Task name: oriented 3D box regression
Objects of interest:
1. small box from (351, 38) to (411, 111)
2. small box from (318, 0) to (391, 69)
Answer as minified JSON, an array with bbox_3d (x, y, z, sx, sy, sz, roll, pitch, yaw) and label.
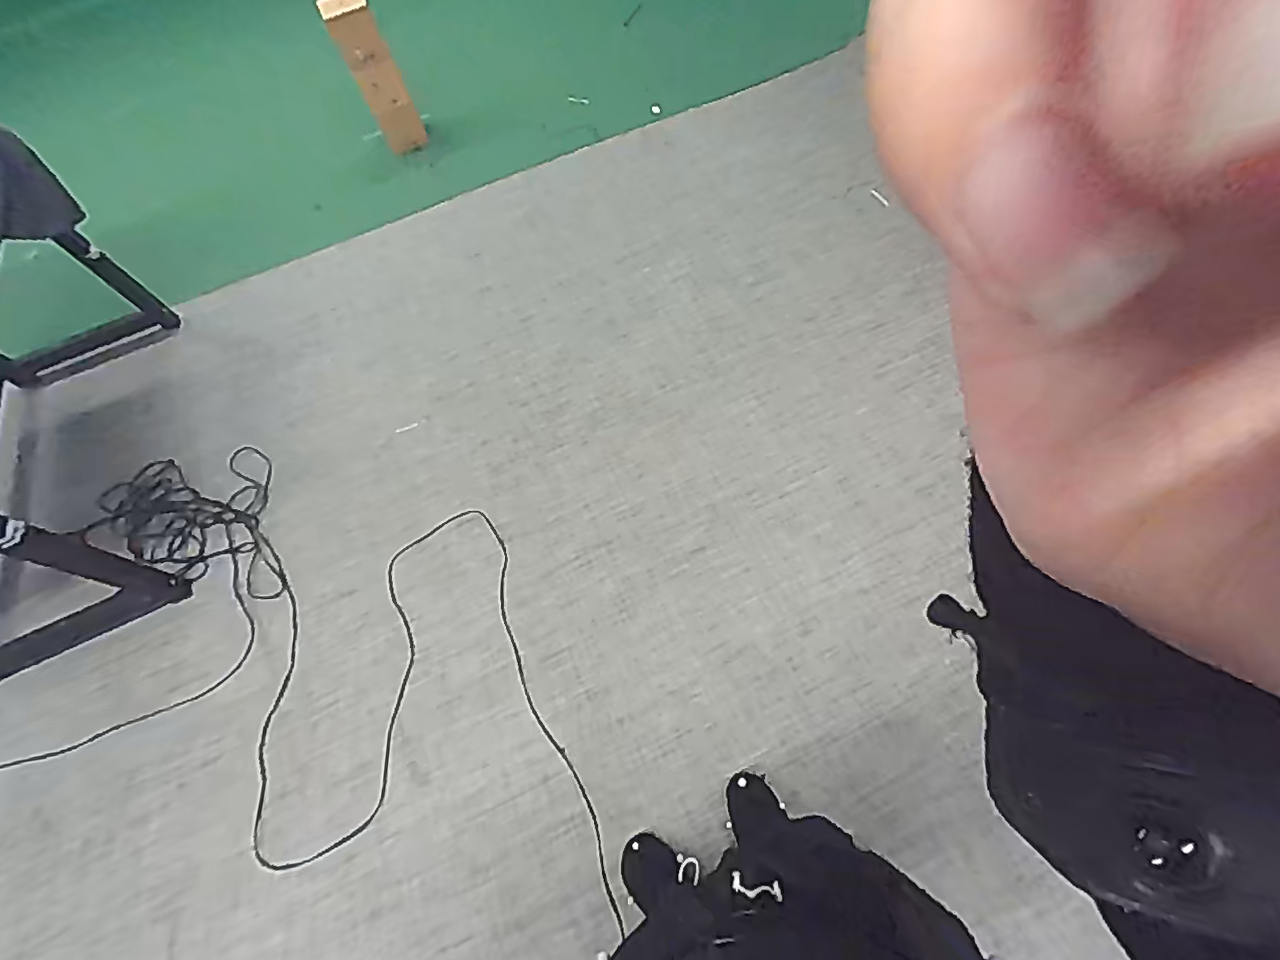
[{"bbox_3d":[-1.040,-1.615,2.160,0.168,0.176,0.179,-23,62,-5],"label":"small box"},{"bbox_3d":[-1.060,-1.682,2.012,0.168,0.176,0.179,-26,64,-5],"label":"small box"}]
